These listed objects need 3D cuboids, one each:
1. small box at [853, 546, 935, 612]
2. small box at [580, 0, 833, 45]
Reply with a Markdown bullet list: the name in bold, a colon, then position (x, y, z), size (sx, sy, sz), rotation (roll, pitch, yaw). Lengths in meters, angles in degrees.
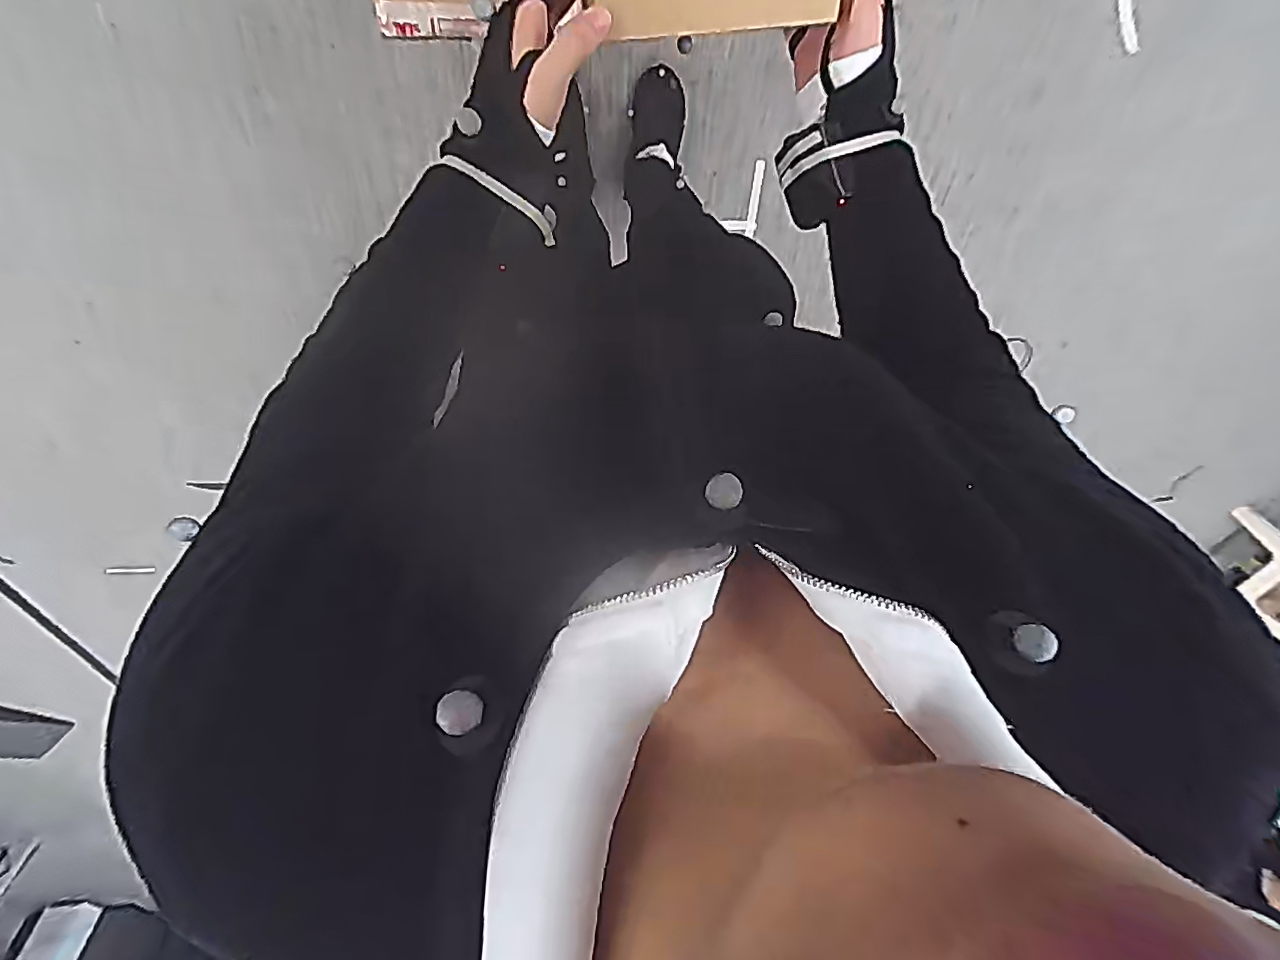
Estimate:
- **small box**: position (0.897, 0.352, 1.923), size (0.179, 0.176, 0.168), rotation (4, 130, -9)
- **small box**: position (0.035, -0.420, 0.369), size (0.168, 0.176, 0.179), rotation (-8, 131, -4)
